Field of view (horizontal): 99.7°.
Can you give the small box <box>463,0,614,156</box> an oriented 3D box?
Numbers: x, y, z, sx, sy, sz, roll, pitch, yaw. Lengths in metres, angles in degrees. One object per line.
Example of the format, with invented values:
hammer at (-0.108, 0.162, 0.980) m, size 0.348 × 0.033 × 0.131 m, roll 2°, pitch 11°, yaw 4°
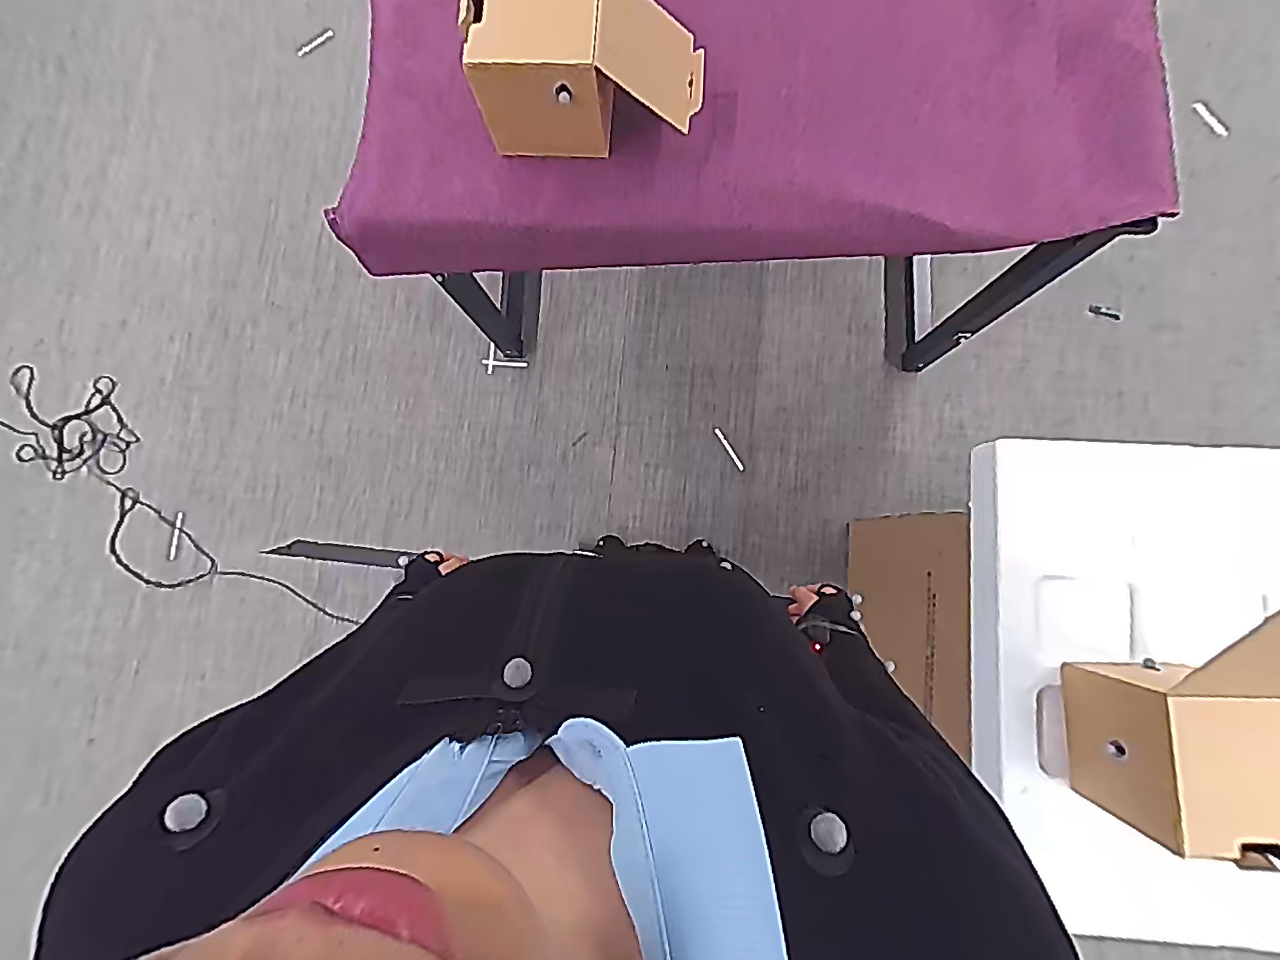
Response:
small box at (-0.135, -0.603, 0.786) m, size 0.179 × 0.176 × 0.168 m, roll 3°, pitch 82°, yaw 4°
